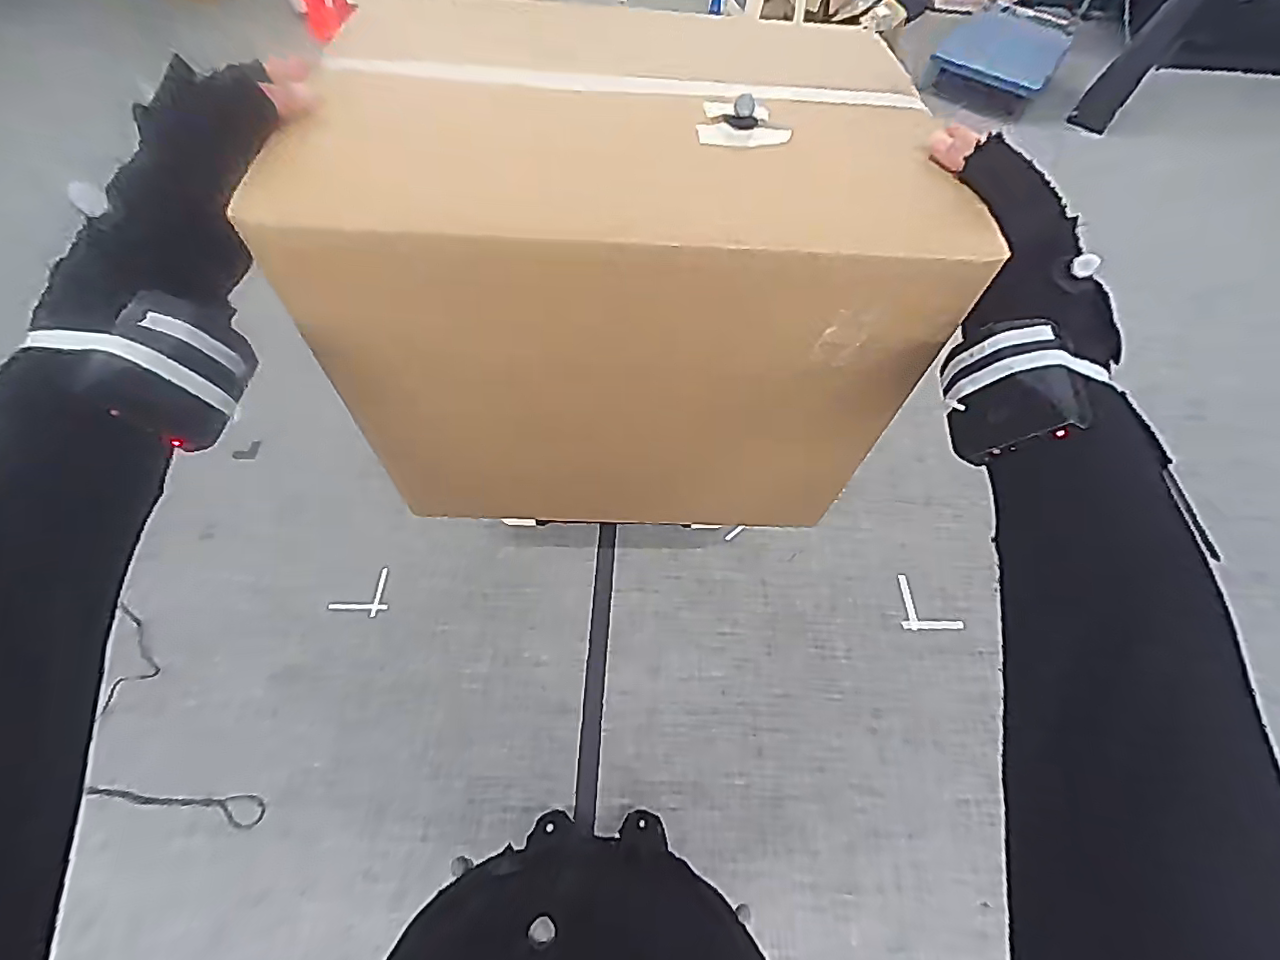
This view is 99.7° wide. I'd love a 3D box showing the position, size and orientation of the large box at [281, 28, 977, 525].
[{"bbox_3d":[-0.011,-0.164,0.507,0.408,0.320,0.320,2,58,-4],"label":"large box"}]
